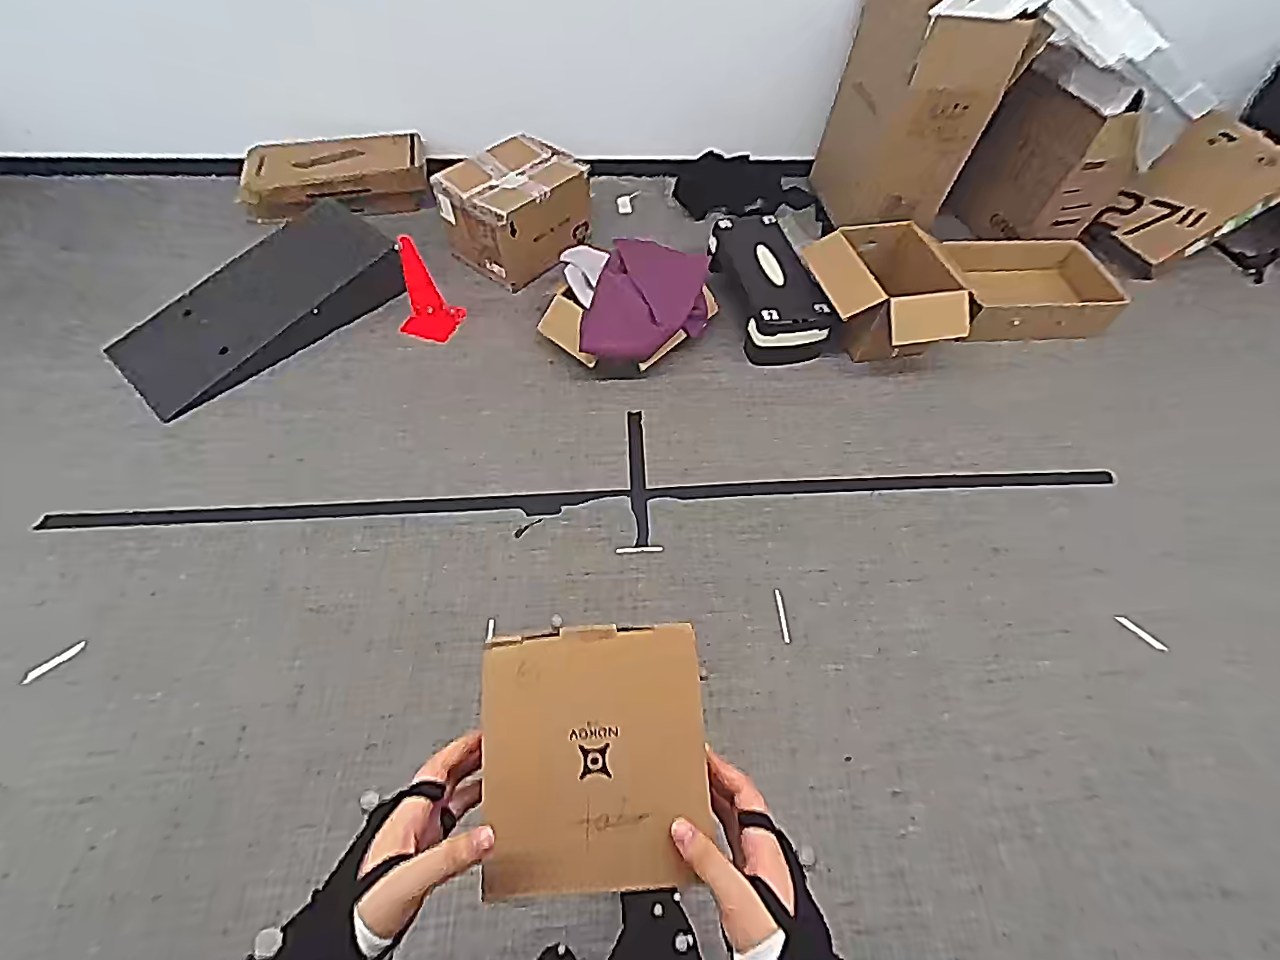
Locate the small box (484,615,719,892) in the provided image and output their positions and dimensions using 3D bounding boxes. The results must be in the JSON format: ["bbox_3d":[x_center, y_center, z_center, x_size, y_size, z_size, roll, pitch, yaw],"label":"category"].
[{"bbox_3d":[-0.031,0.216,0.472,0.168,0.176,0.179,-5,75,0],"label":"small box"}]
